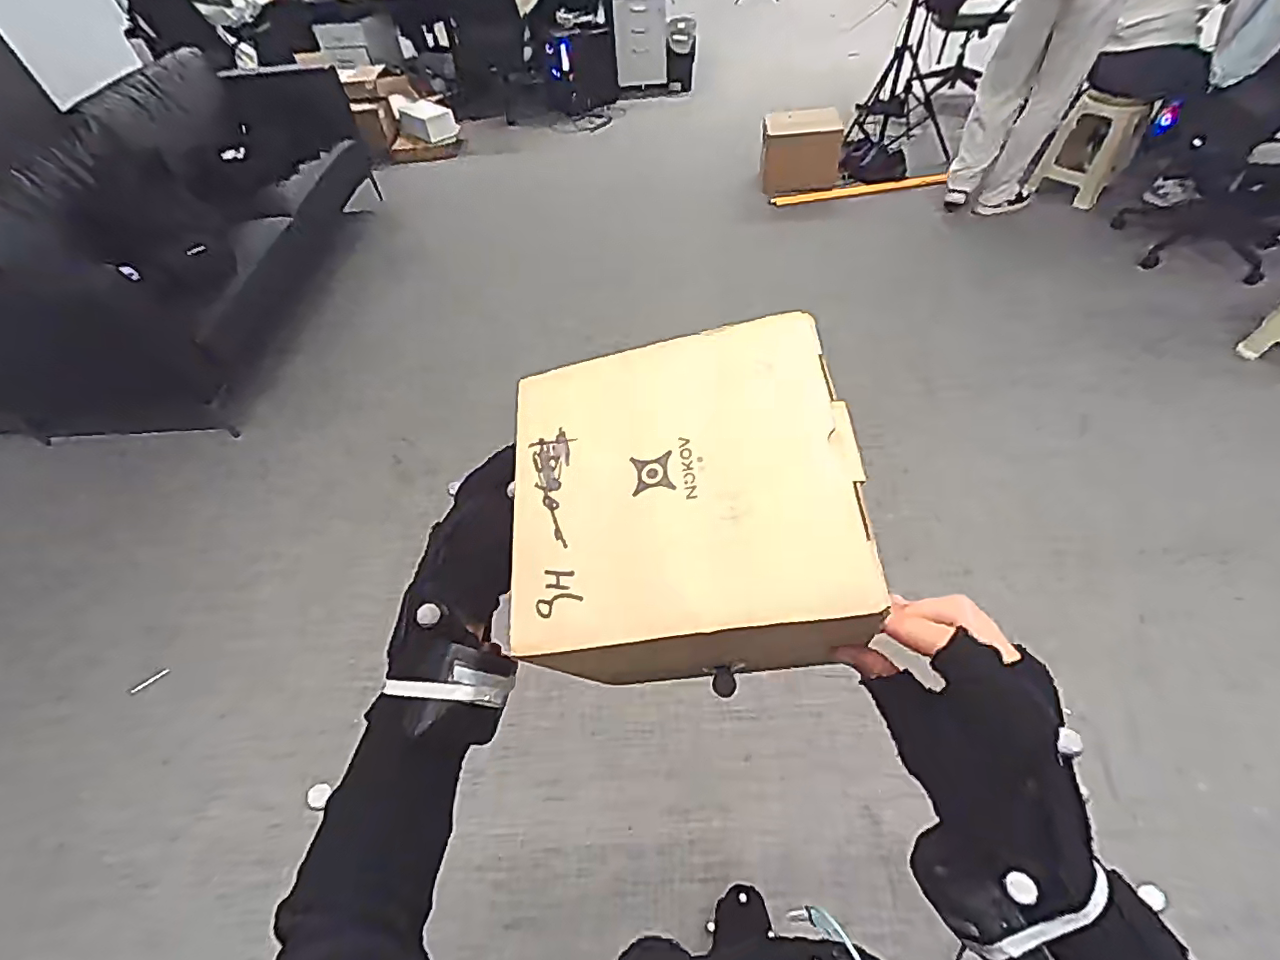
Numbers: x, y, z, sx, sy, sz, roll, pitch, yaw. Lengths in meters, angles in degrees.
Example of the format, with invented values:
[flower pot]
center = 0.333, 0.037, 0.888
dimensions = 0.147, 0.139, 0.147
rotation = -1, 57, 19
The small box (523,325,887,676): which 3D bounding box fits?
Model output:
[small box]
center = 0.039, 0.031, 0.358
dimensions = 0.179, 0.176, 0.168
rotation = -10, 63, 11
